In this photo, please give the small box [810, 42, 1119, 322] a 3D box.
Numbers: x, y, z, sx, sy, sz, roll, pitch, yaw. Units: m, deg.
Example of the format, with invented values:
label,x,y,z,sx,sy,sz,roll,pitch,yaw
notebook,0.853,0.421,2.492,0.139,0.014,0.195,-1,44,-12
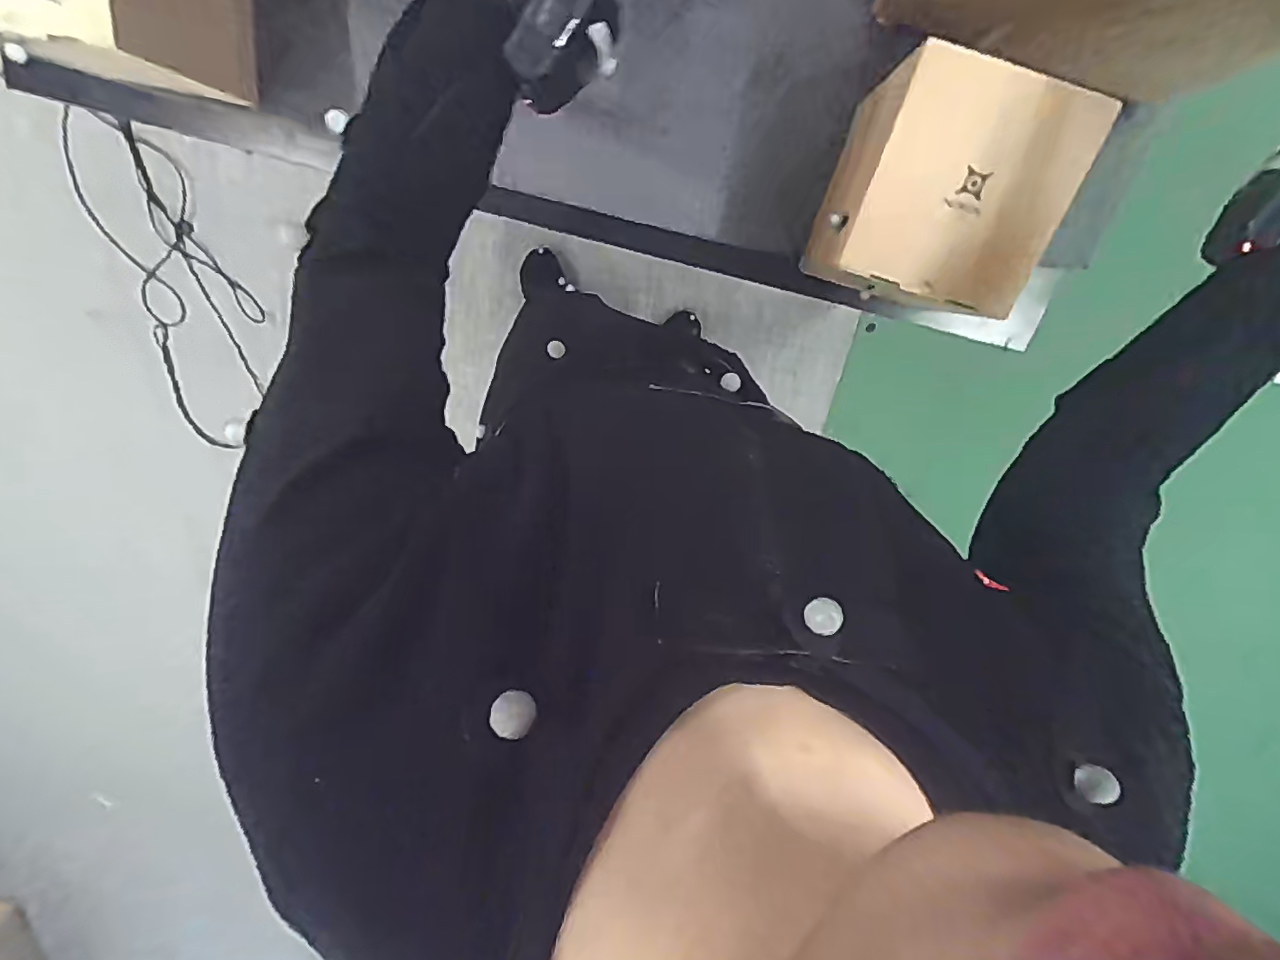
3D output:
label,x,y,z,sx,sy,sz,roll,pitch,yaw
small box,0.286,-0.272,0.531,0.168,0.176,0.179,17,112,-2
